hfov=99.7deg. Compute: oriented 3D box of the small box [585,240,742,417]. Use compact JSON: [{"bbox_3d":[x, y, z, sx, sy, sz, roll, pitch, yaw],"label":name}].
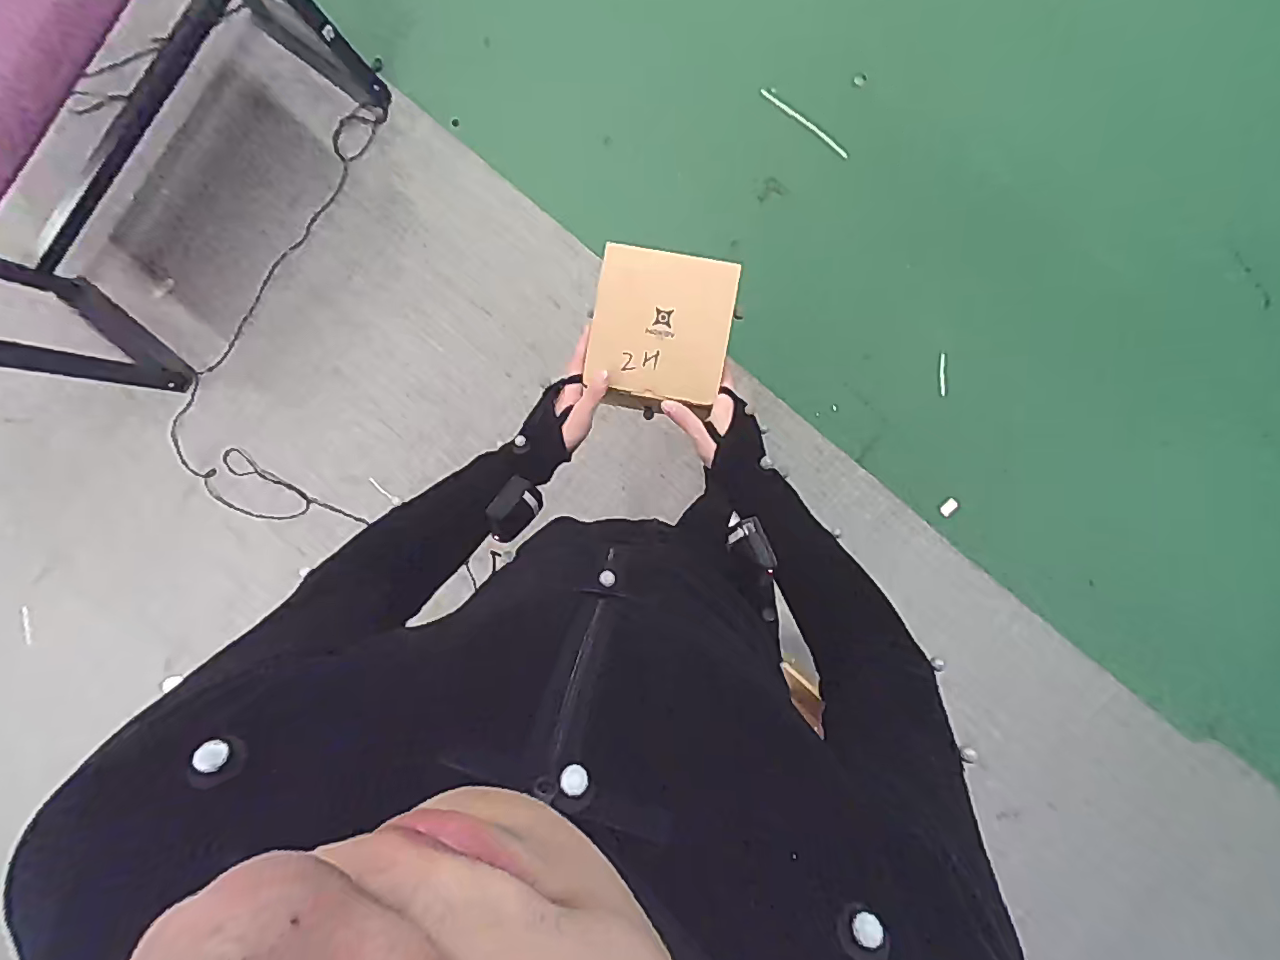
[{"bbox_3d":[0.029,-0.190,0.723,0.168,0.176,0.179,9,92,2],"label":"small box"}]
